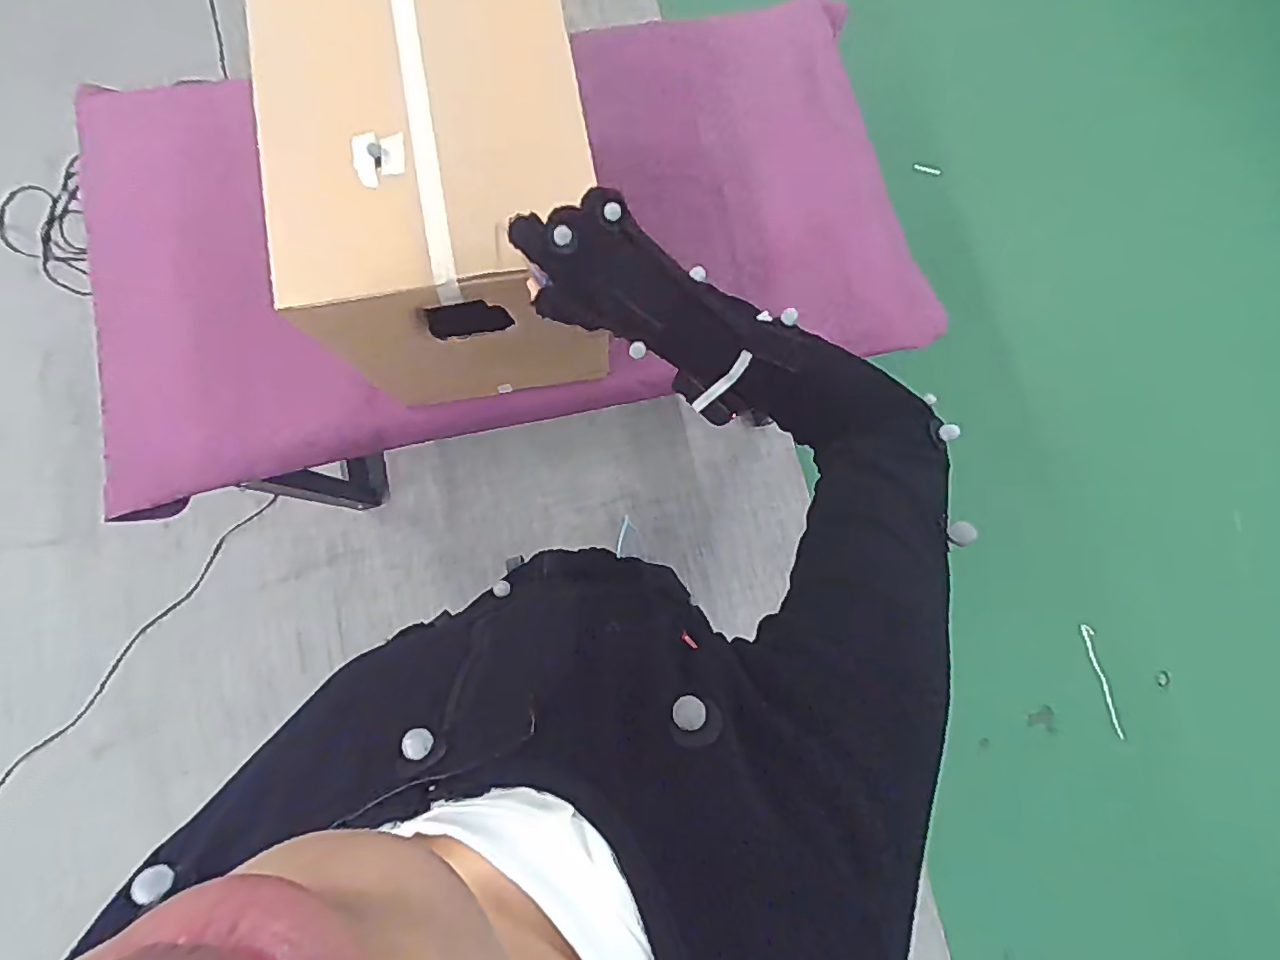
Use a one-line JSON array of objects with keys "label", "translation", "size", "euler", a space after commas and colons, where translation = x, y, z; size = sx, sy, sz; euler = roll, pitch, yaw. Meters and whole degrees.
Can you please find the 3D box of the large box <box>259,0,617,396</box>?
[{"label": "large box", "translation": [-0.222, -0.361, 0.692], "size": [0.320, 0.320, 0.408], "euler": [-10, 83, -5]}]
